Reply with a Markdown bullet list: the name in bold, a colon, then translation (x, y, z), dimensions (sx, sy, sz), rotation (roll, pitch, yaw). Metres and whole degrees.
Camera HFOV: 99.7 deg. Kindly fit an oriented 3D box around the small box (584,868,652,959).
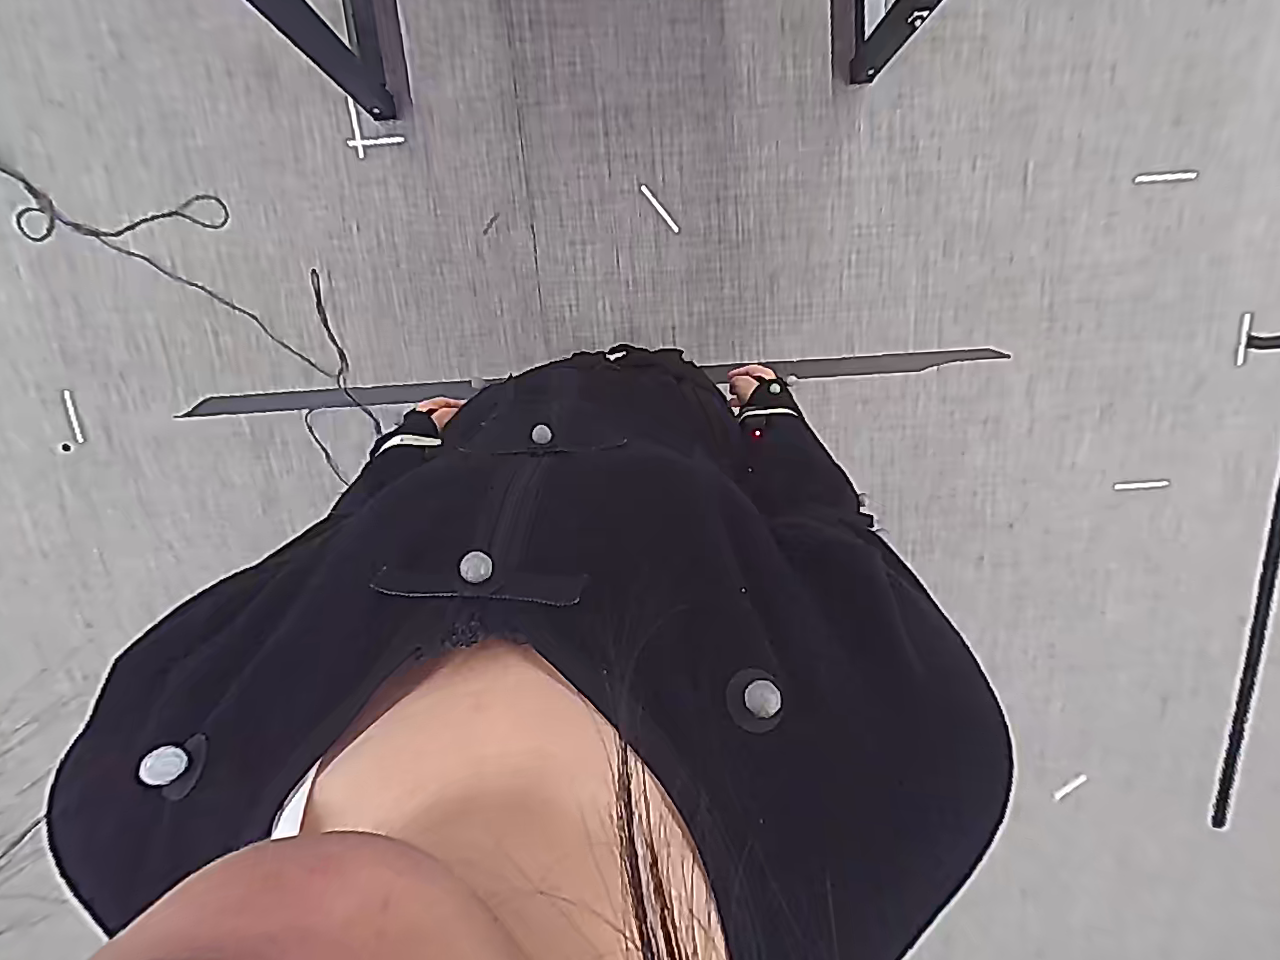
- **small box**: translation (-0.057, 1.220, 1.491), dimensions (0.168, 0.176, 0.179), rotation (-9, 103, 0)
